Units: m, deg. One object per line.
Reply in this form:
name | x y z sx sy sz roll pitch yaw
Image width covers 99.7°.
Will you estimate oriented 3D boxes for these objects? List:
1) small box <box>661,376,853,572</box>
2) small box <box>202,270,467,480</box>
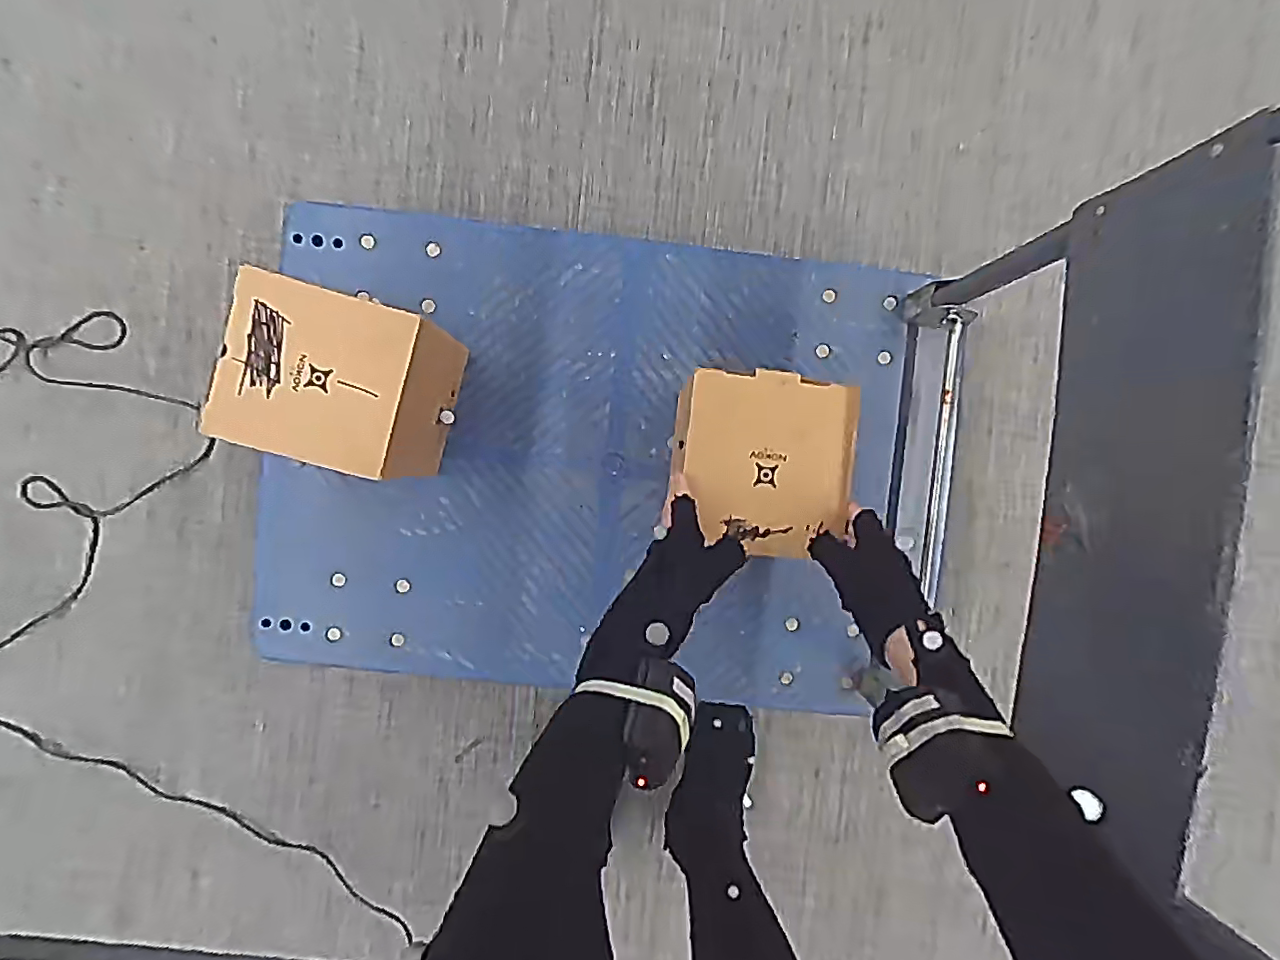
small box | 0.117 -0.004 0.609 0.168 0.176 0.179 8 88 -1
small box | -0.315 -0.101 0.596 0.179 0.176 0.168 16 91 -3
